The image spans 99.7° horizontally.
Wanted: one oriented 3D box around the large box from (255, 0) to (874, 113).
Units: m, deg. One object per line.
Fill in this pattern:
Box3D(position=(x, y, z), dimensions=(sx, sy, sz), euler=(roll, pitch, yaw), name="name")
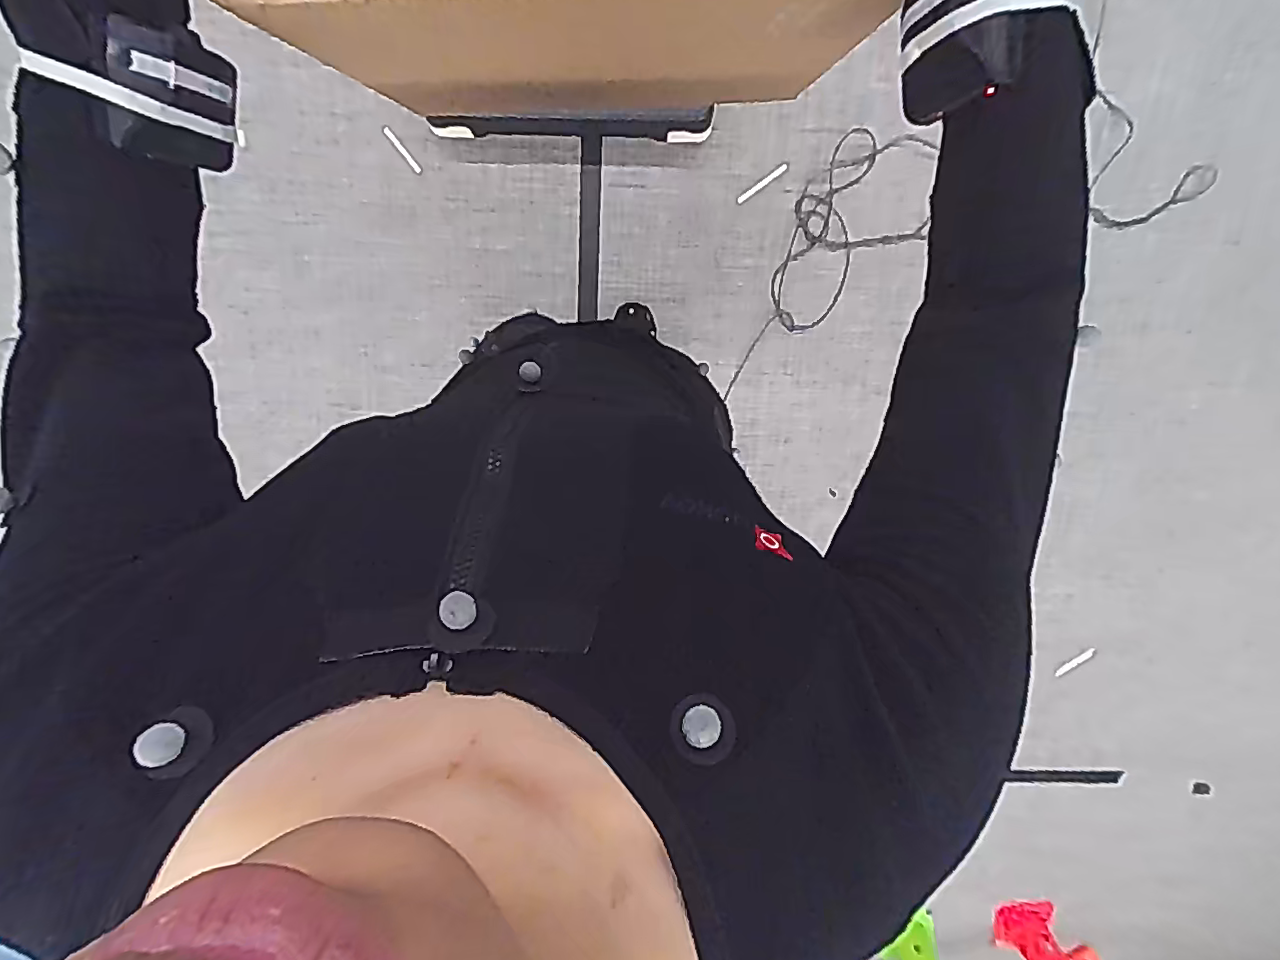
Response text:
Box3D(position=(-0.042, -0.480, 0.375), dimensions=(0.408, 0.320, 0.320), euler=(-3, 115, 0), name="large box")
